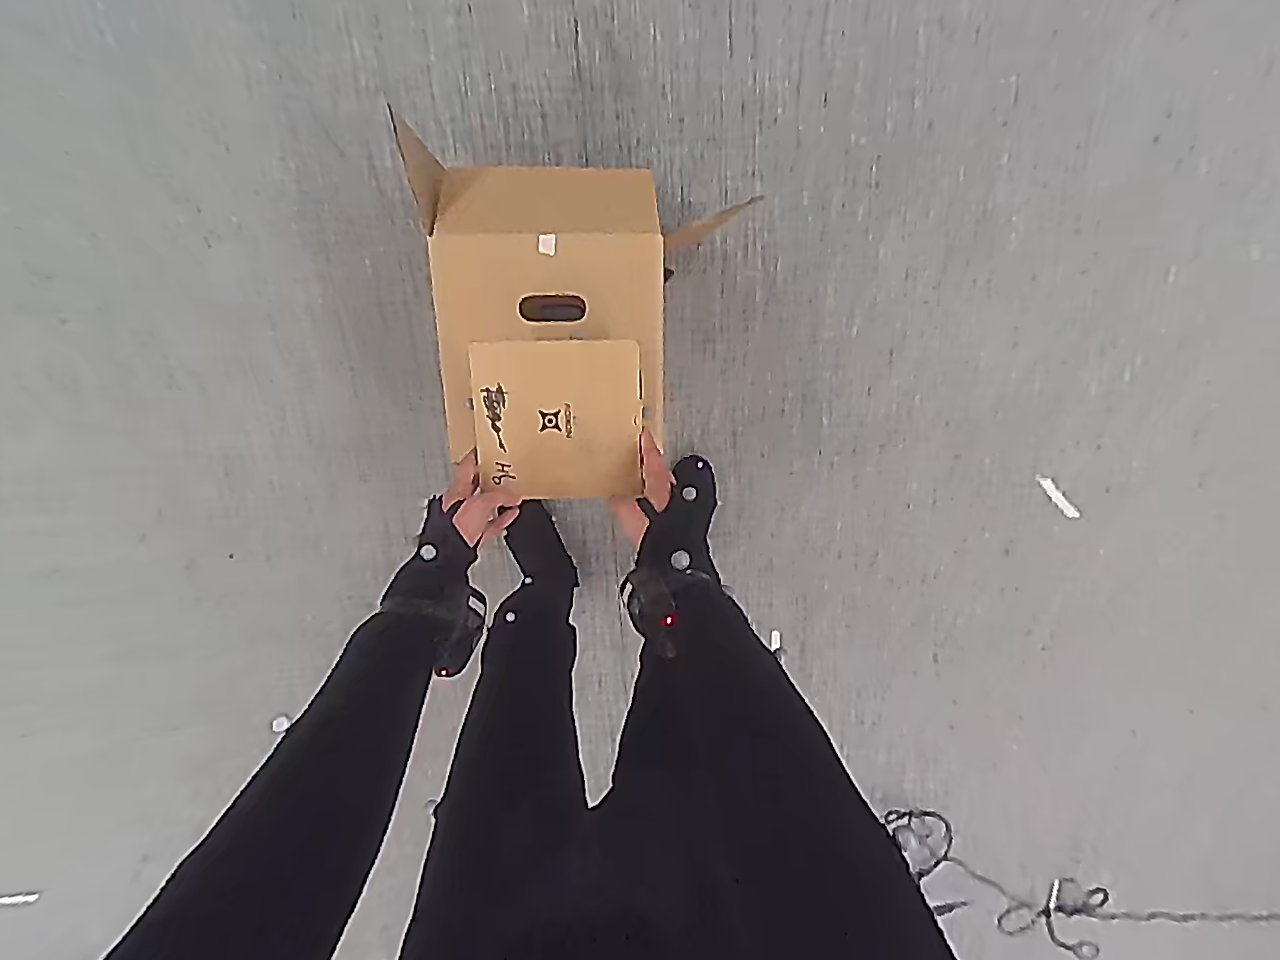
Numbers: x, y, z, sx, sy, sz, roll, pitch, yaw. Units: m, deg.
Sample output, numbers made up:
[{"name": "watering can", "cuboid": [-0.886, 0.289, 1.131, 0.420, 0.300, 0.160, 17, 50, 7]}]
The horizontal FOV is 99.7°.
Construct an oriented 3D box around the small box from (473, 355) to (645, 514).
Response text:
[{"name": "small box", "cuboid": [-0.087, -0.062, 0.644, 0.179, 0.176, 0.168, 0, 103, -2]}]
